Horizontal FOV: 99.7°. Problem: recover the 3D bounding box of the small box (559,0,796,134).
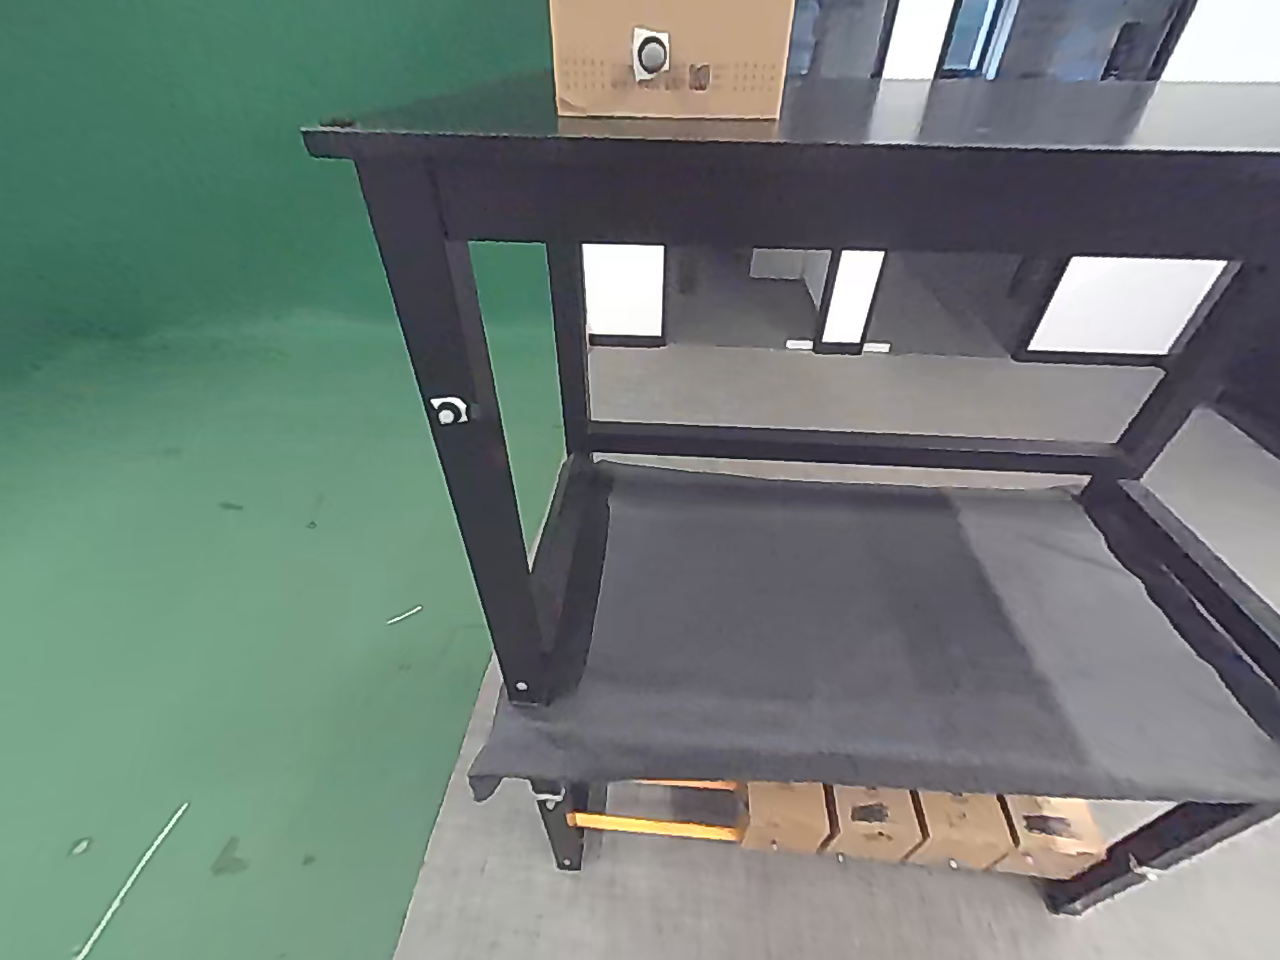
[{"bbox_3d":[0.026,-0.383,0.427,0.168,0.176,0.179,0,39,1],"label":"small box"}]
